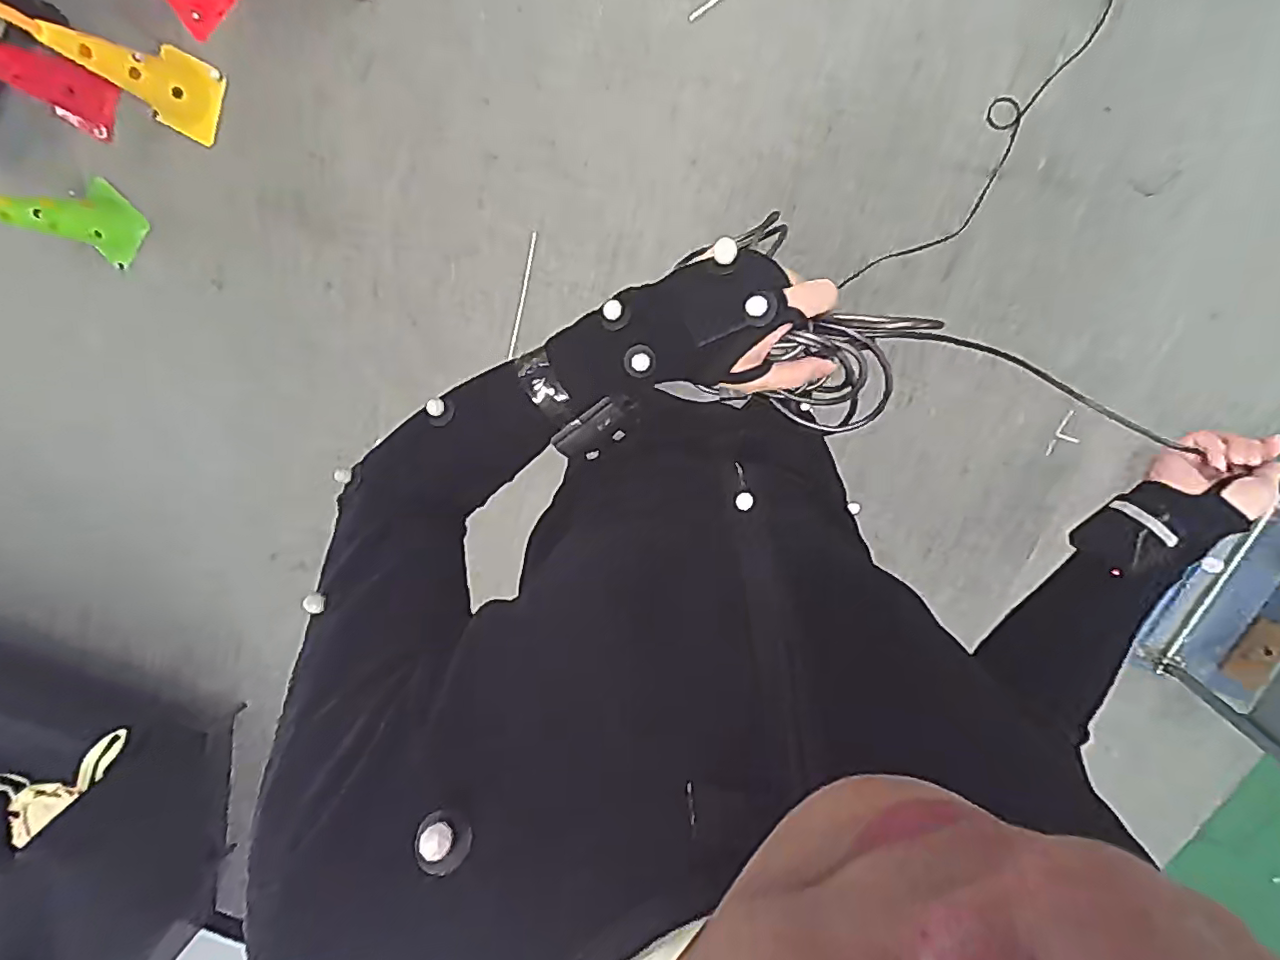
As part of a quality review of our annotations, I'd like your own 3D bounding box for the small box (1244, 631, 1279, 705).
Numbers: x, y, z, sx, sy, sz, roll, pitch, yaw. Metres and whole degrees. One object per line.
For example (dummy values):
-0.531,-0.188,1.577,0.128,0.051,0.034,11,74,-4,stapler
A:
1.595,0.472,1.245,0.179,0.176,0.168,19,107,5,small box
